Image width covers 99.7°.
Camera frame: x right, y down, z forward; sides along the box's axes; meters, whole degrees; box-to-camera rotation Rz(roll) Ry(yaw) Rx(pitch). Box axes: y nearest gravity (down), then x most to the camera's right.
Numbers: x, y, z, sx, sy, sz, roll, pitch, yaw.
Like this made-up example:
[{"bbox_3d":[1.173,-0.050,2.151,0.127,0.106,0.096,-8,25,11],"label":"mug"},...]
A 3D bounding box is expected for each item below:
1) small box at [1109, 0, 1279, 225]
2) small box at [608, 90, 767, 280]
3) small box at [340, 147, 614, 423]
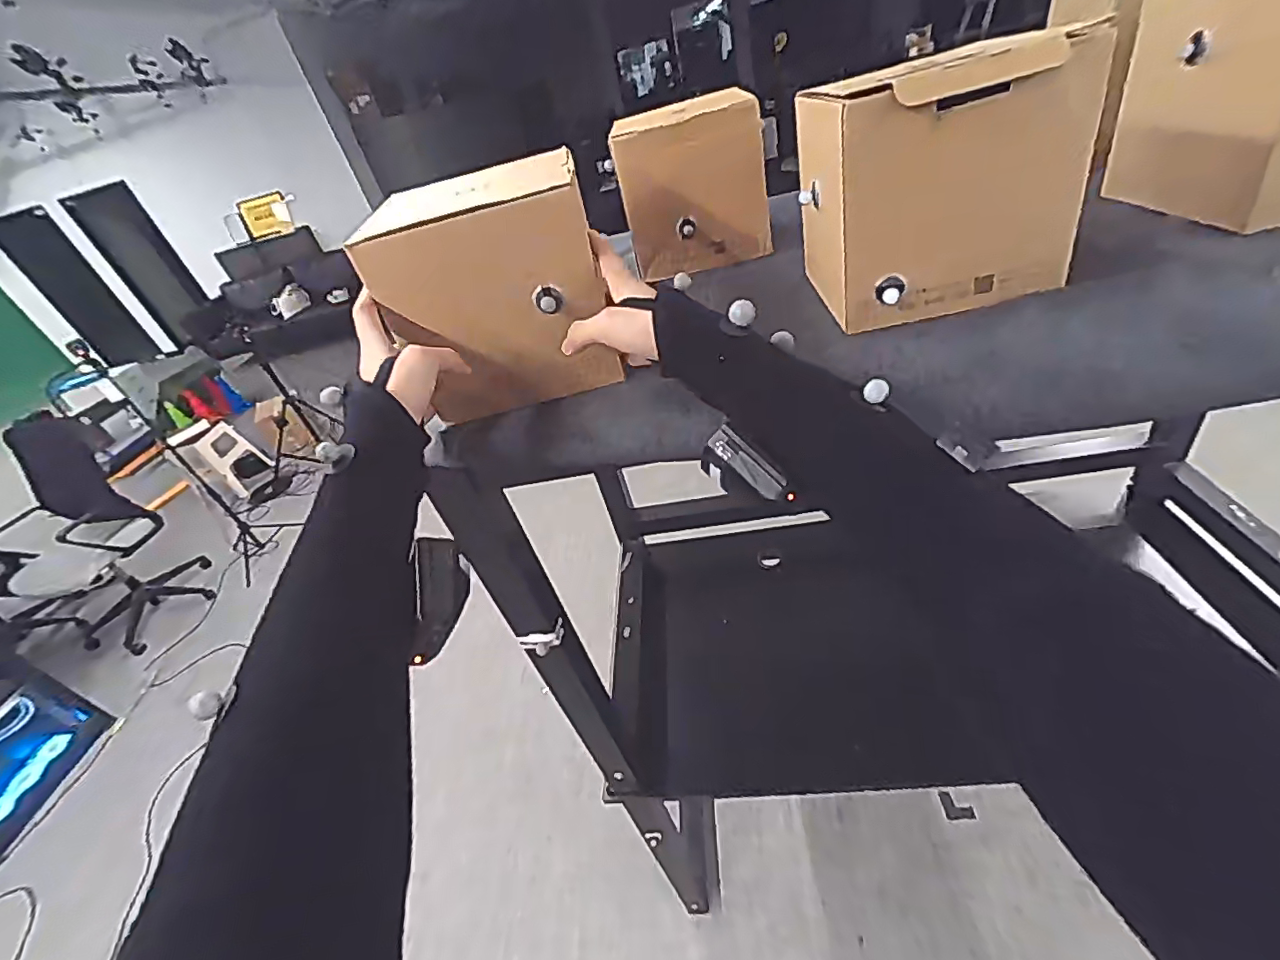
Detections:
[{"bbox_3d":[0.532,-0.321,0.432,0.168,0.176,0.179,-10,36,10],"label":"small box"},{"bbox_3d":[0.063,-0.377,0.695,0.168,0.176,0.179,-11,38,9],"label":"small box"},{"bbox_3d":[-0.125,-0.177,0.495,0.179,0.176,0.168,-14,40,2],"label":"small box"}]
